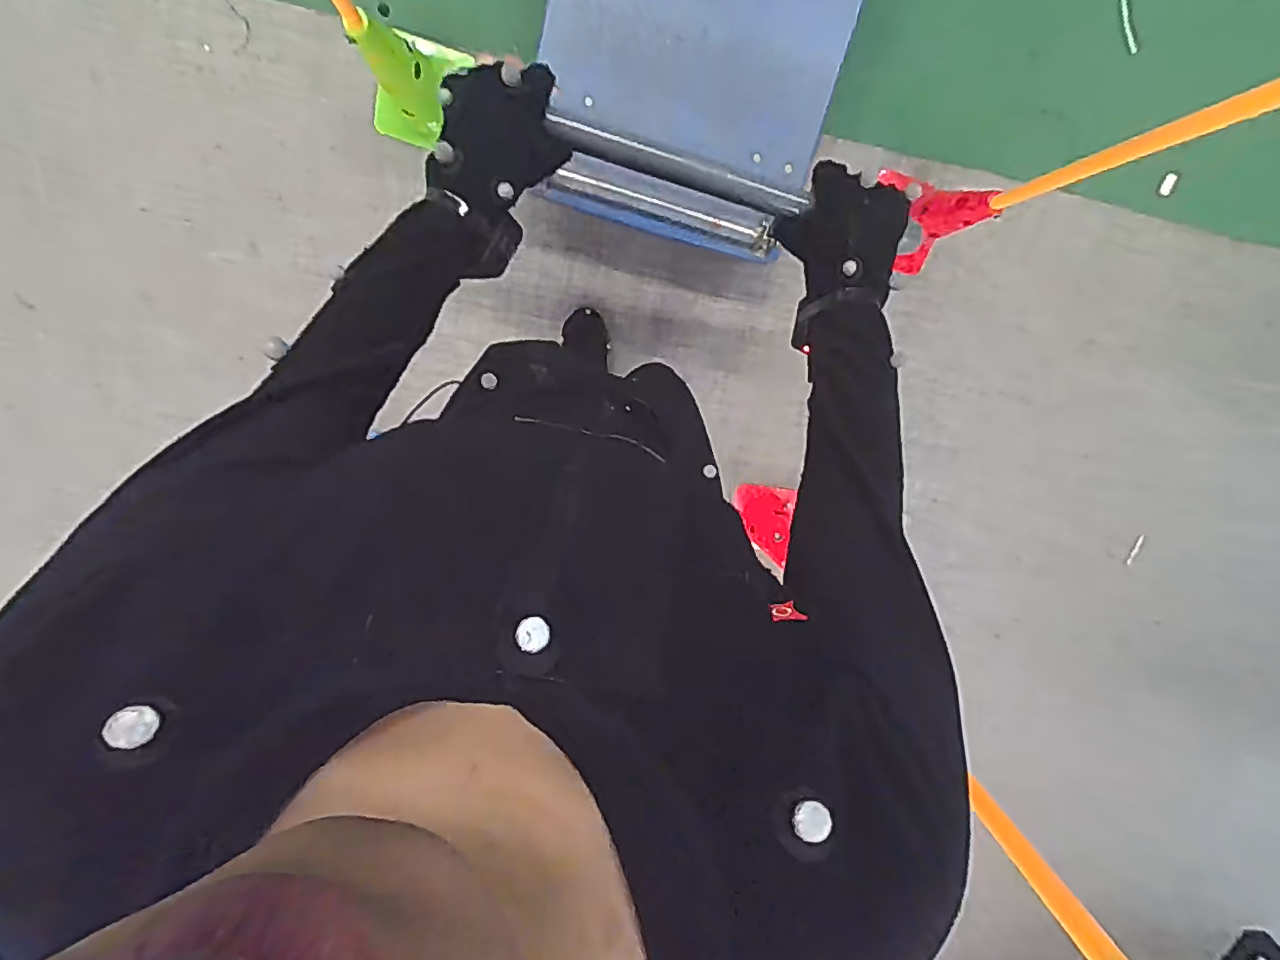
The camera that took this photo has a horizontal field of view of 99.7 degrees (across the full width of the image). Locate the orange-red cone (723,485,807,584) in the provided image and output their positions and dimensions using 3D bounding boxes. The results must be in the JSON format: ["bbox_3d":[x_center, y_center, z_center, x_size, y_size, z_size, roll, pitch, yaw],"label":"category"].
[{"bbox_3d":[0.359,0.172,1.416,0.199,0.360,0.198,10,108,-5],"label":"orange-red cone"}]

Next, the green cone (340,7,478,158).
[{"bbox_3d":[-0.459,-0.787,1.027,0.202,0.368,0.200,14,107,-7],"label":"green cone"}]
